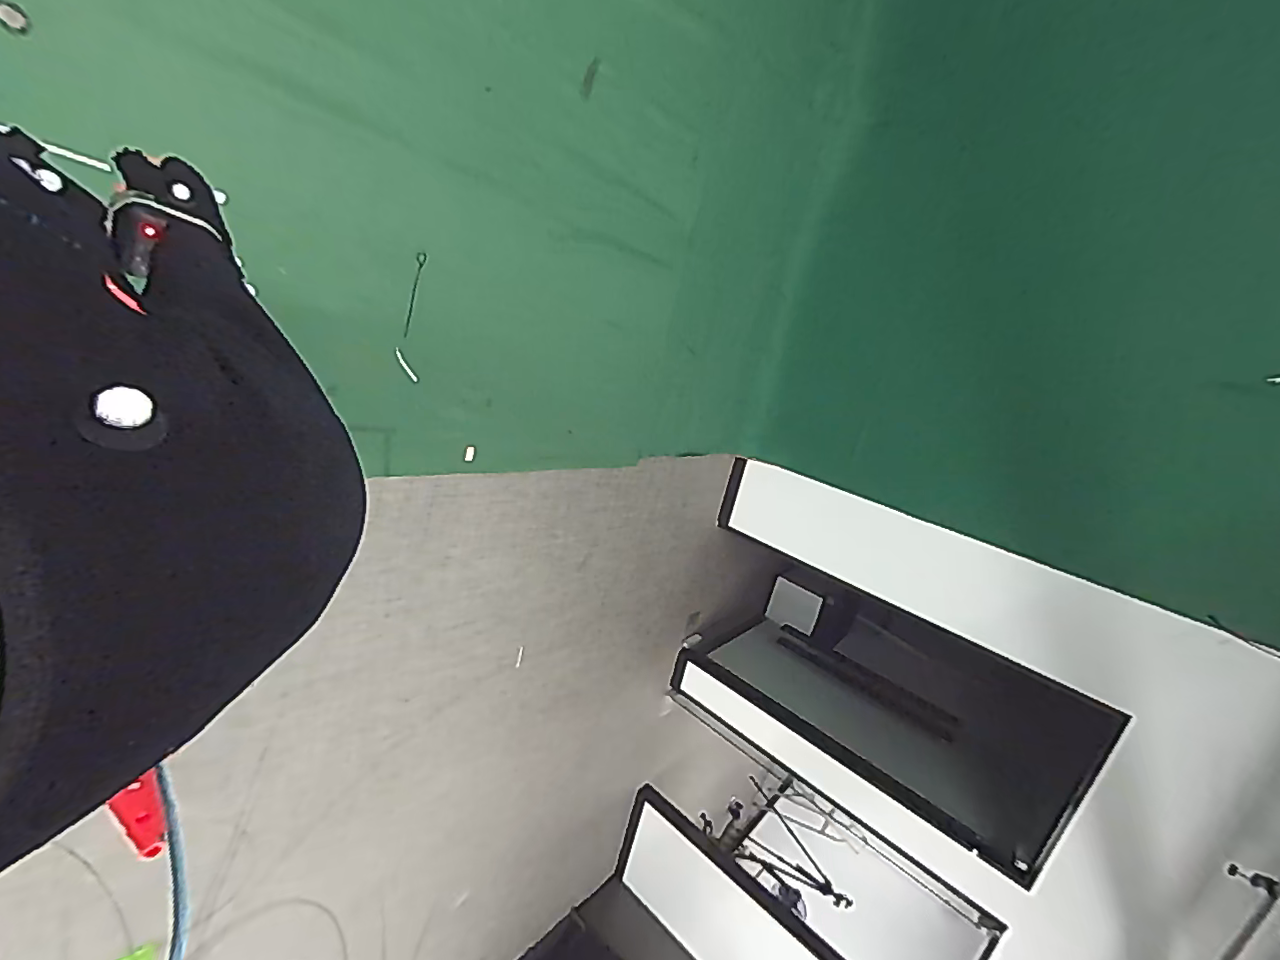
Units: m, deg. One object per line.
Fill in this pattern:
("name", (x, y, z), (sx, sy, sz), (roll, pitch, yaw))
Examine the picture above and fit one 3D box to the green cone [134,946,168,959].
("green cone", (-1.360, 1.521, 1.447), (0.202, 0.368, 0.200), (-7, 115, -48))
